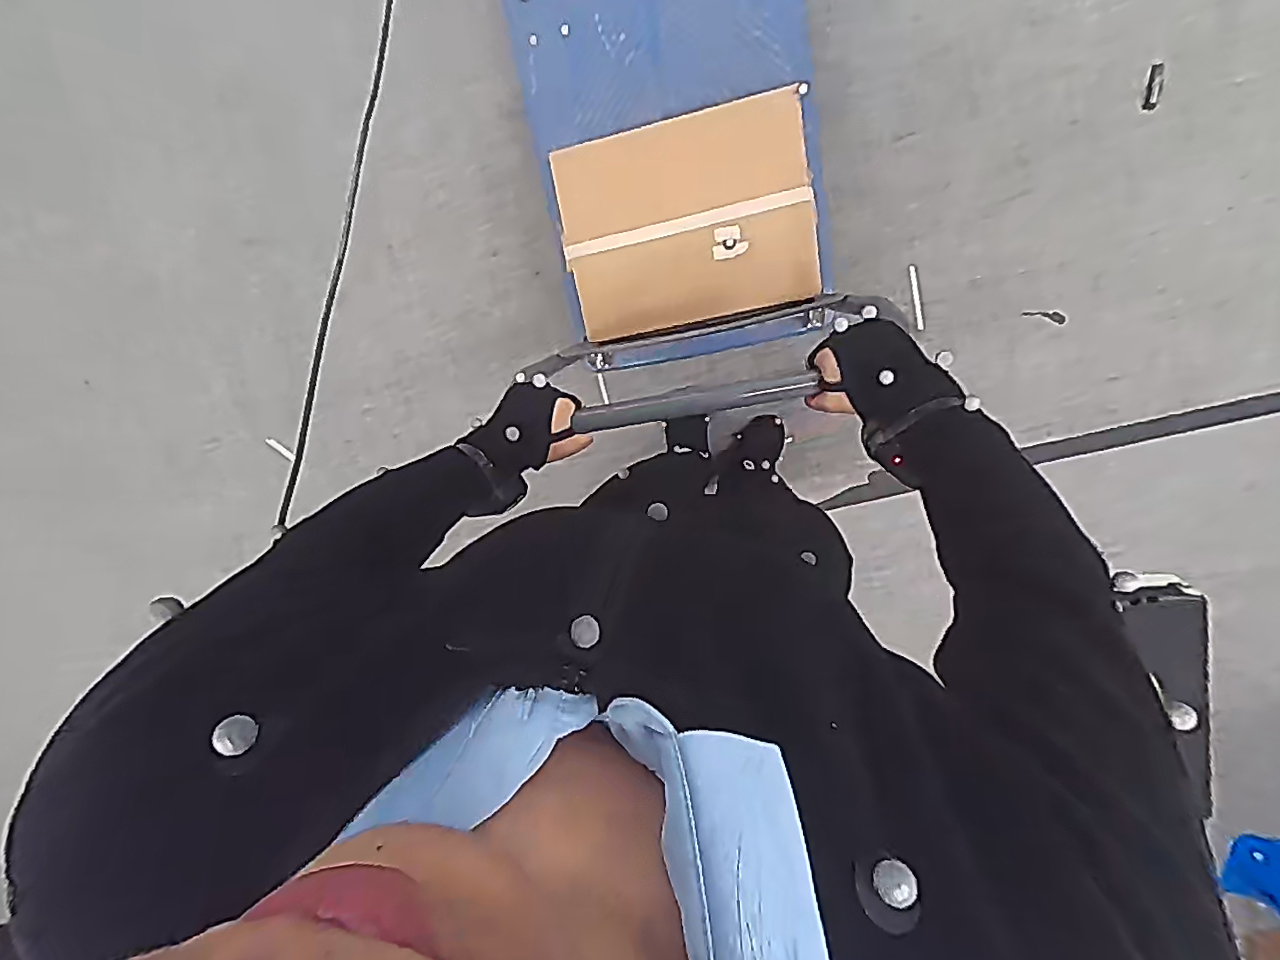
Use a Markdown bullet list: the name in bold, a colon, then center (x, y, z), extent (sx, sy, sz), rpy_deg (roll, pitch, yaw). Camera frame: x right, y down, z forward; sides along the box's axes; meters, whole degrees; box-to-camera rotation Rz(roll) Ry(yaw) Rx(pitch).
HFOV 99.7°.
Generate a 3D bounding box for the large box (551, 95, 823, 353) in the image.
- **large box**: center (0.094, -0.436, 1.023), extent (0.408, 0.320, 0.320), rpy_deg (-9, 104, 10)
